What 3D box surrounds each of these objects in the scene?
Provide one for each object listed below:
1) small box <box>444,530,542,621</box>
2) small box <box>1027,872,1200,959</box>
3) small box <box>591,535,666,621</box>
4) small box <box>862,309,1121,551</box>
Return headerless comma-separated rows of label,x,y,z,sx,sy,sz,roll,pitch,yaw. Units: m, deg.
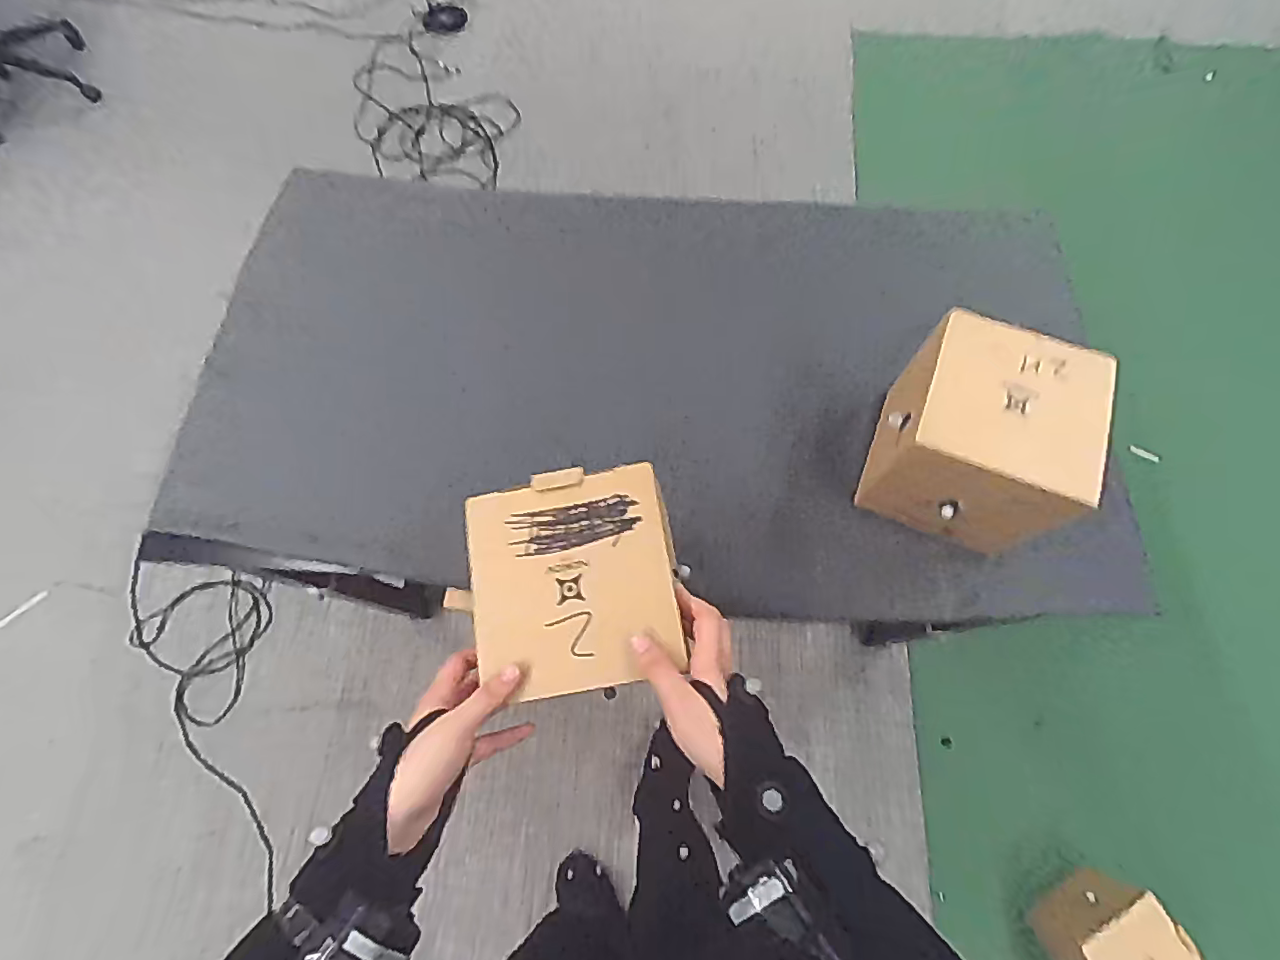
small box,-0.340,0.233,1.289,0.168,0.176,0.179,7,69,4
small box,0.885,0.880,1.007,0.179,0.176,0.168,-27,71,-9
small box,-0.021,0.236,1.277,0.168,0.176,0.179,1,68,1
small box,0.363,-0.044,0.589,0.168,0.176,0.179,23,69,10
